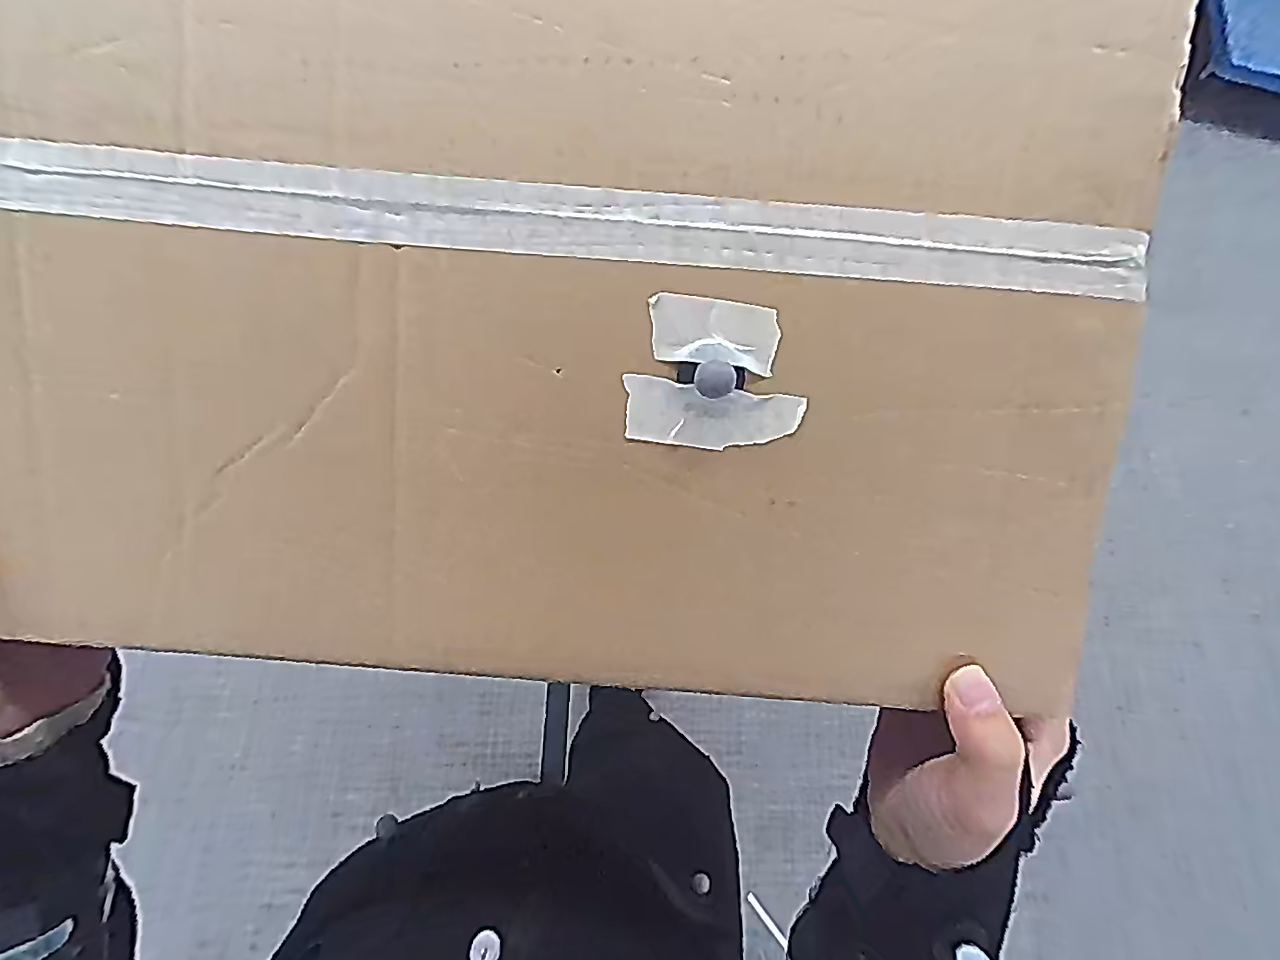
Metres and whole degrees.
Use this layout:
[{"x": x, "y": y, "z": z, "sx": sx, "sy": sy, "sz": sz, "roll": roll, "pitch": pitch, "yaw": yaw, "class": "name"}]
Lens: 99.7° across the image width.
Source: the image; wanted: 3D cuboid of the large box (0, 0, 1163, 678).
[{"x": -0.035, "y": -0.103, "z": 0.334, "sx": 0.408, "sy": 0.320, "sz": 0.320, "roll": 4, "pitch": 98, "yaw": -1, "class": "large box"}]
